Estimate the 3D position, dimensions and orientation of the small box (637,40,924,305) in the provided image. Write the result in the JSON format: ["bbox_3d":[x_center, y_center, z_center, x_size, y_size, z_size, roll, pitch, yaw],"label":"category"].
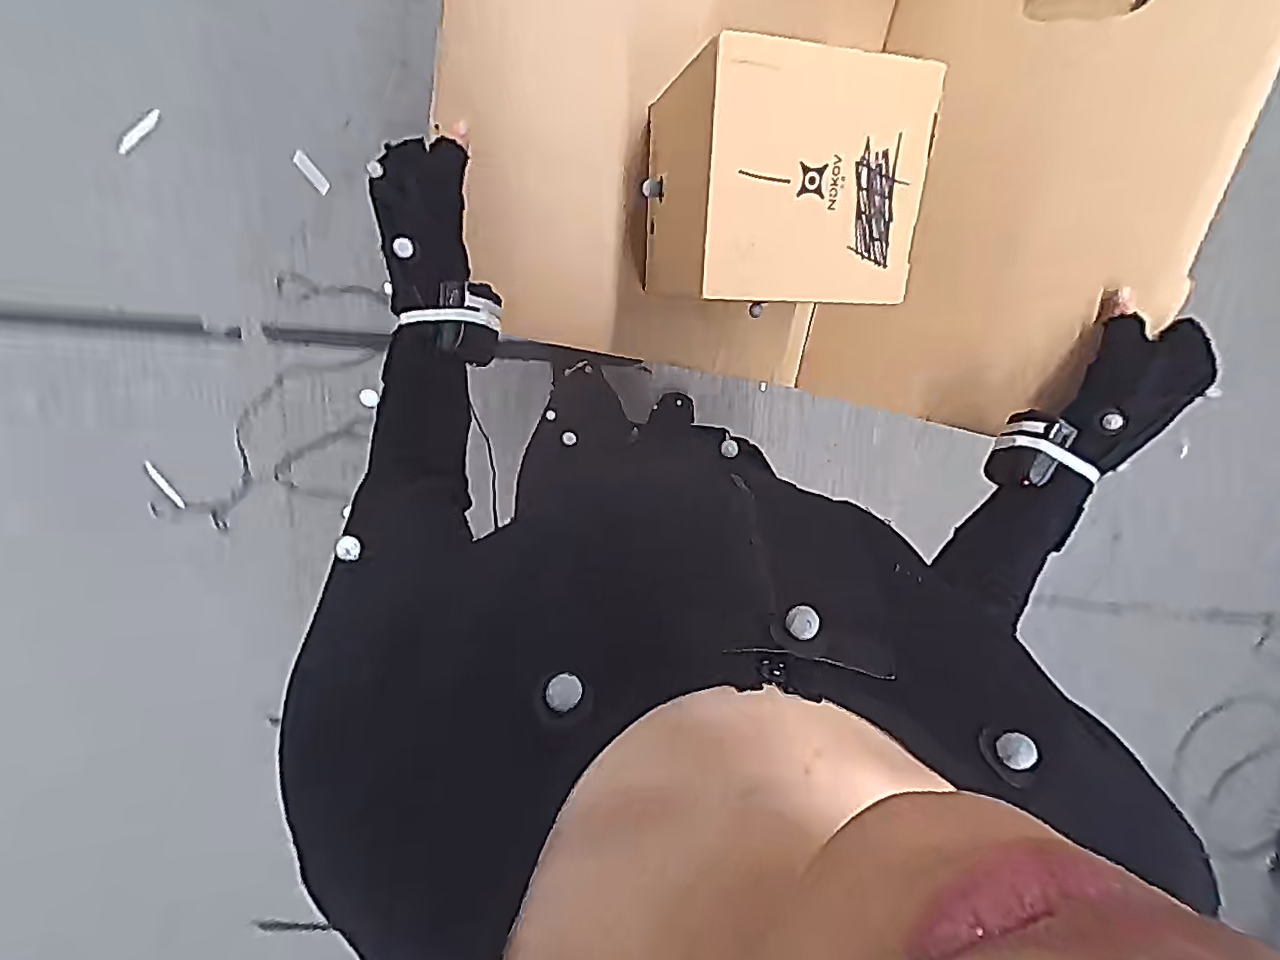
[{"bbox_3d":[0.104,-0.245,0.475,0.179,0.176,0.168,-4,110,-13],"label":"small box"}]
